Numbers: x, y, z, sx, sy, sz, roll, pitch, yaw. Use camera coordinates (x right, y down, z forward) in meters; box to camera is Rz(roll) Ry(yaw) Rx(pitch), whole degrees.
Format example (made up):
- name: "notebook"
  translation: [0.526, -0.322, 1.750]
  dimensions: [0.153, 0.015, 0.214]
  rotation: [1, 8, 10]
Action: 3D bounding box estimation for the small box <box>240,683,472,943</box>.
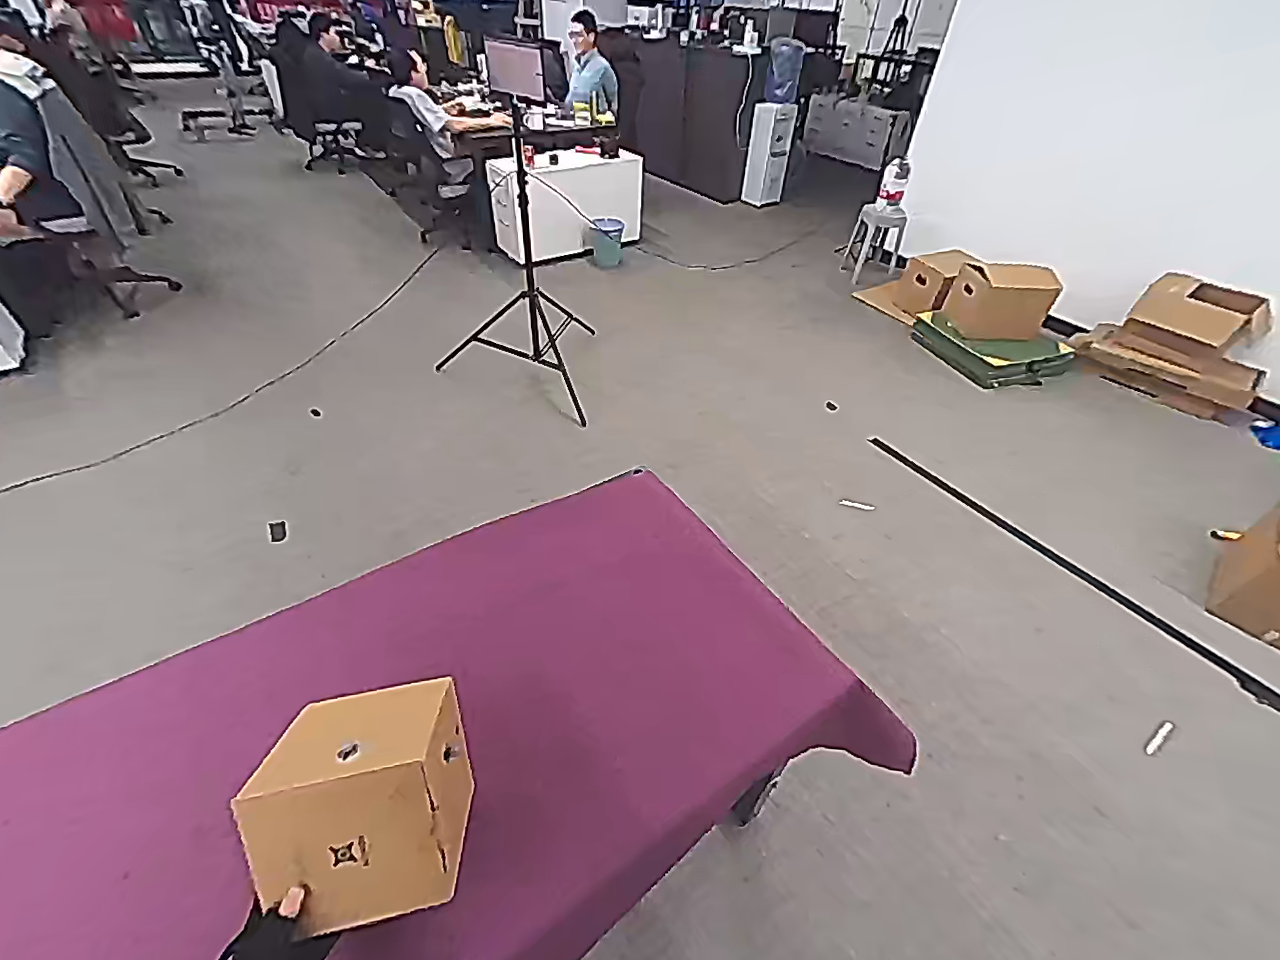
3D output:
- name: "small box"
  translation: [-0.296, 0.355, 0.613]
  dimensions: [0.179, 0.168, 0.176]
  rotation: [-10, 9, -7]
